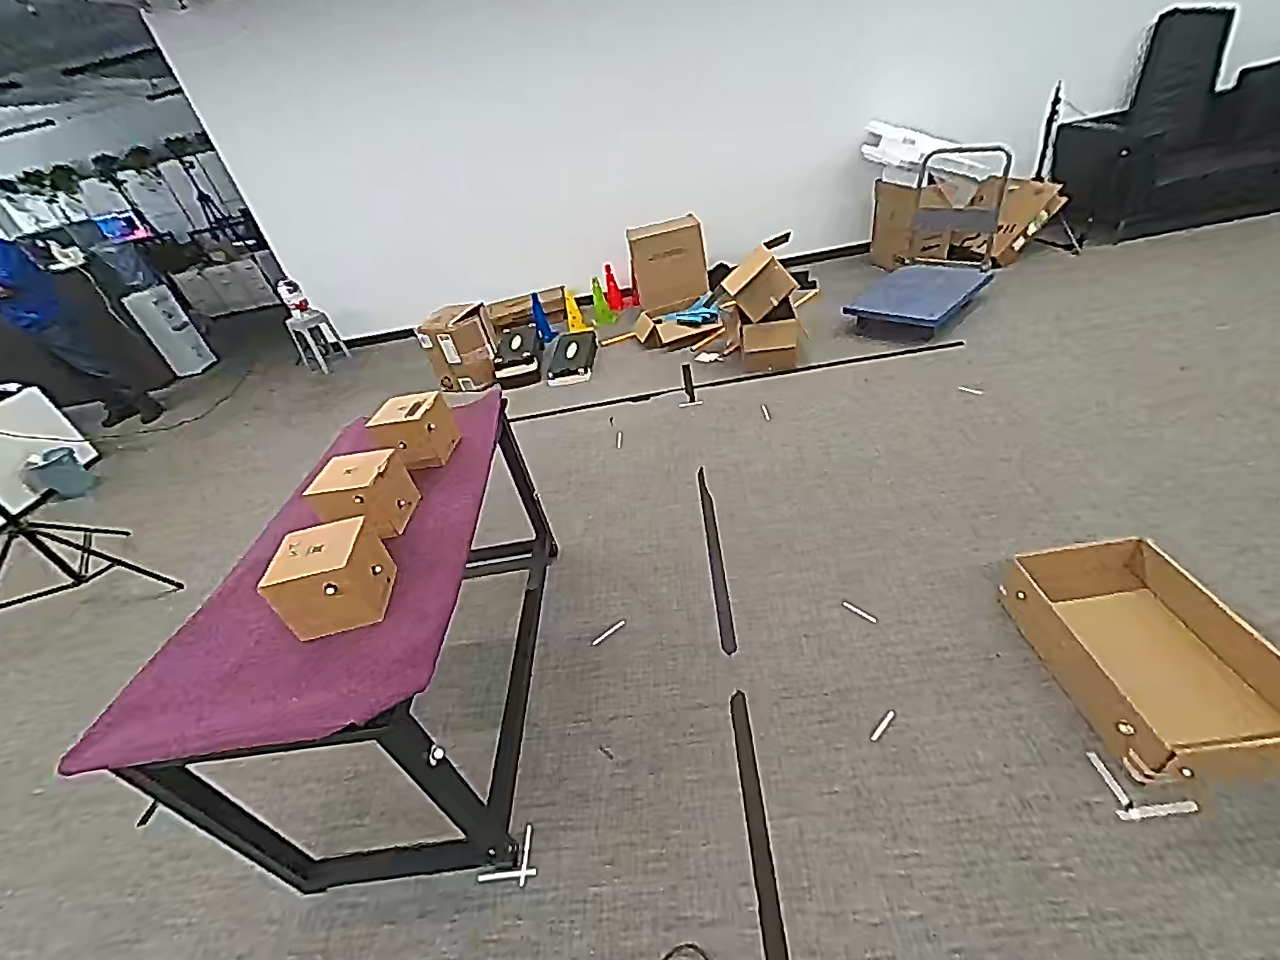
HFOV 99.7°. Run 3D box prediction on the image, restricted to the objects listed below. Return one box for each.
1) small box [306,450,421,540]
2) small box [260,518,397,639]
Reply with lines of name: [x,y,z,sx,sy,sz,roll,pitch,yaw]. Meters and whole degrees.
small box: [-0.705,0.046,1.399,0.179,0.176,0.168,-8,36,6]
small box: [-0.649,0.211,1.156,0.179,0.176,0.168,-14,35,-1]
